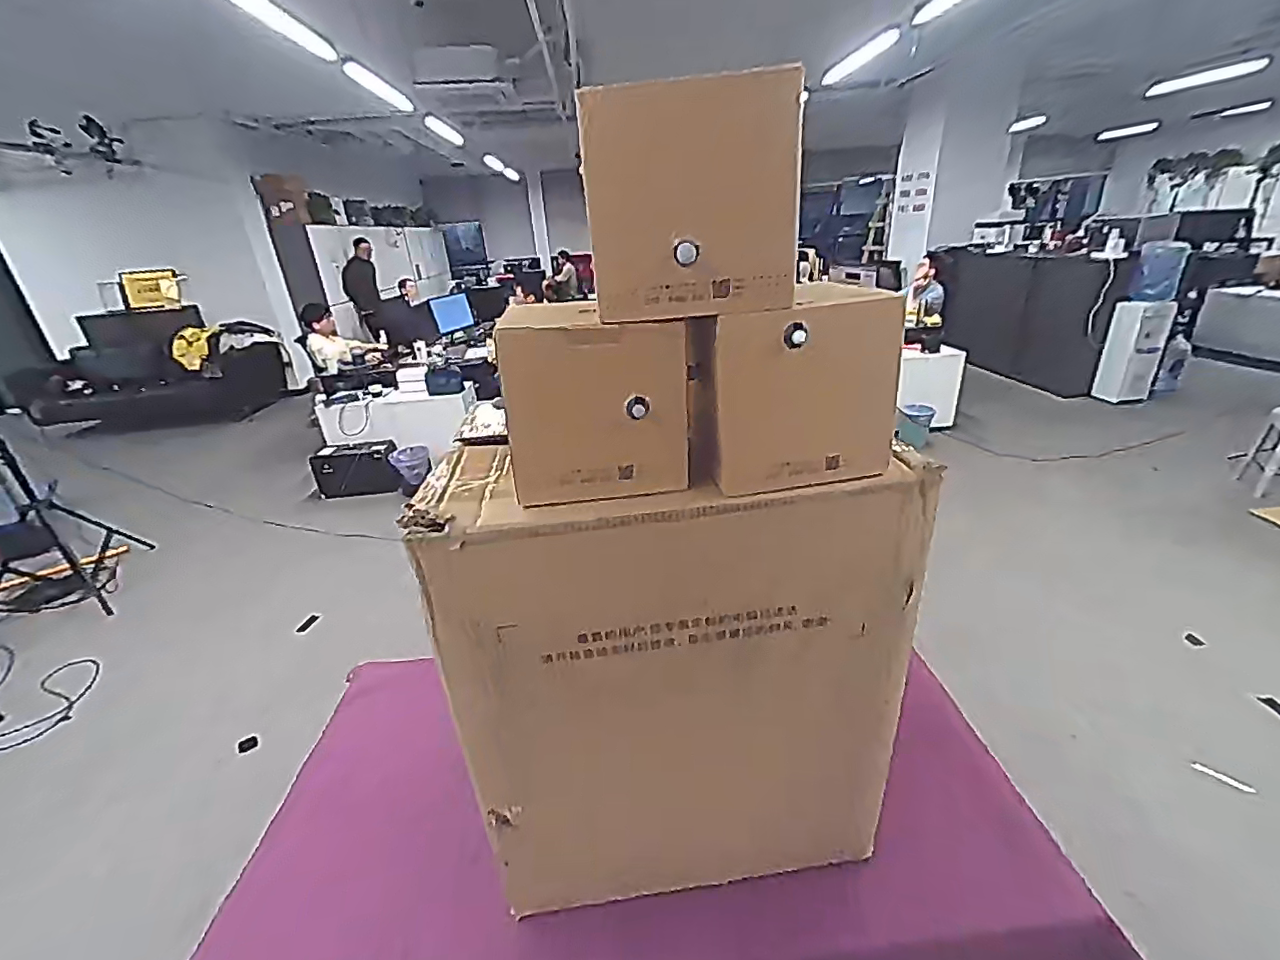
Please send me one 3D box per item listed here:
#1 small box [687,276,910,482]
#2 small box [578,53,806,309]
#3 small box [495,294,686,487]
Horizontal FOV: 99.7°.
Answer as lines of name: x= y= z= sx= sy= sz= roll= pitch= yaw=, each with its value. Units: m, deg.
small box: x=0.144 y=-0.111 z=0.555 sx=0.168 sy=0.176 sz=0.179 roll=-8 pitch=24 yaw=-5
small box: x=0.045 y=-0.253 z=0.491 sx=0.168 sy=0.176 sz=0.179 roll=-4 pitch=25 yaw=4
small box: x=-0.048 y=-0.097 z=0.561 sx=0.168 sy=0.176 sz=0.179 roll=-5 pitch=23 yaw=-7
